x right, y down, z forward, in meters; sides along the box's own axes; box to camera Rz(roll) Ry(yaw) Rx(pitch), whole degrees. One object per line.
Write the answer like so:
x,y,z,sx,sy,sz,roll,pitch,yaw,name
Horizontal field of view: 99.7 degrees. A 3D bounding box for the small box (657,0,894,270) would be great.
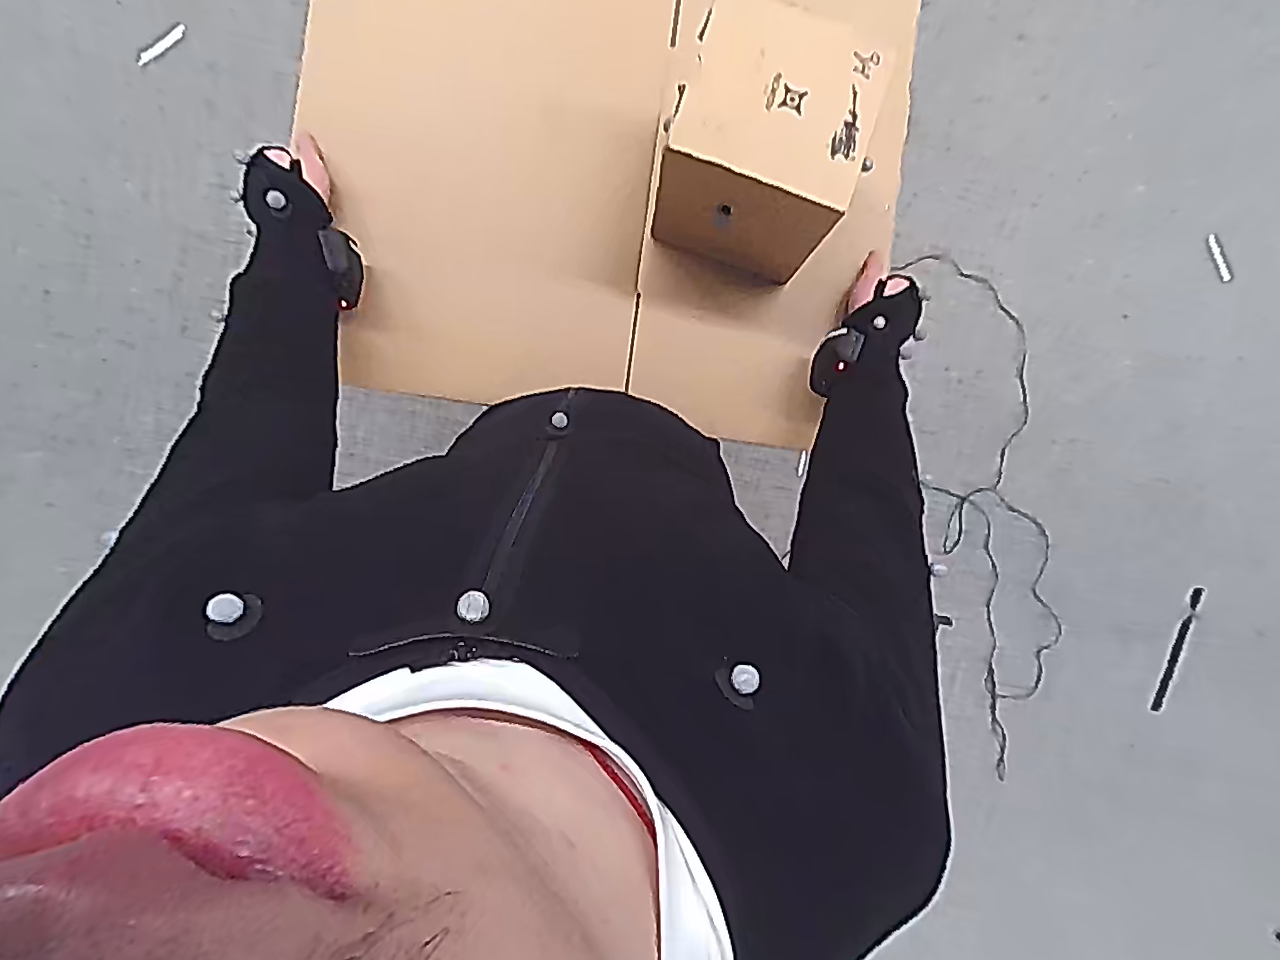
0.124,-0.349,0.570,0.179,0.176,0.168,19,88,-2,small box
